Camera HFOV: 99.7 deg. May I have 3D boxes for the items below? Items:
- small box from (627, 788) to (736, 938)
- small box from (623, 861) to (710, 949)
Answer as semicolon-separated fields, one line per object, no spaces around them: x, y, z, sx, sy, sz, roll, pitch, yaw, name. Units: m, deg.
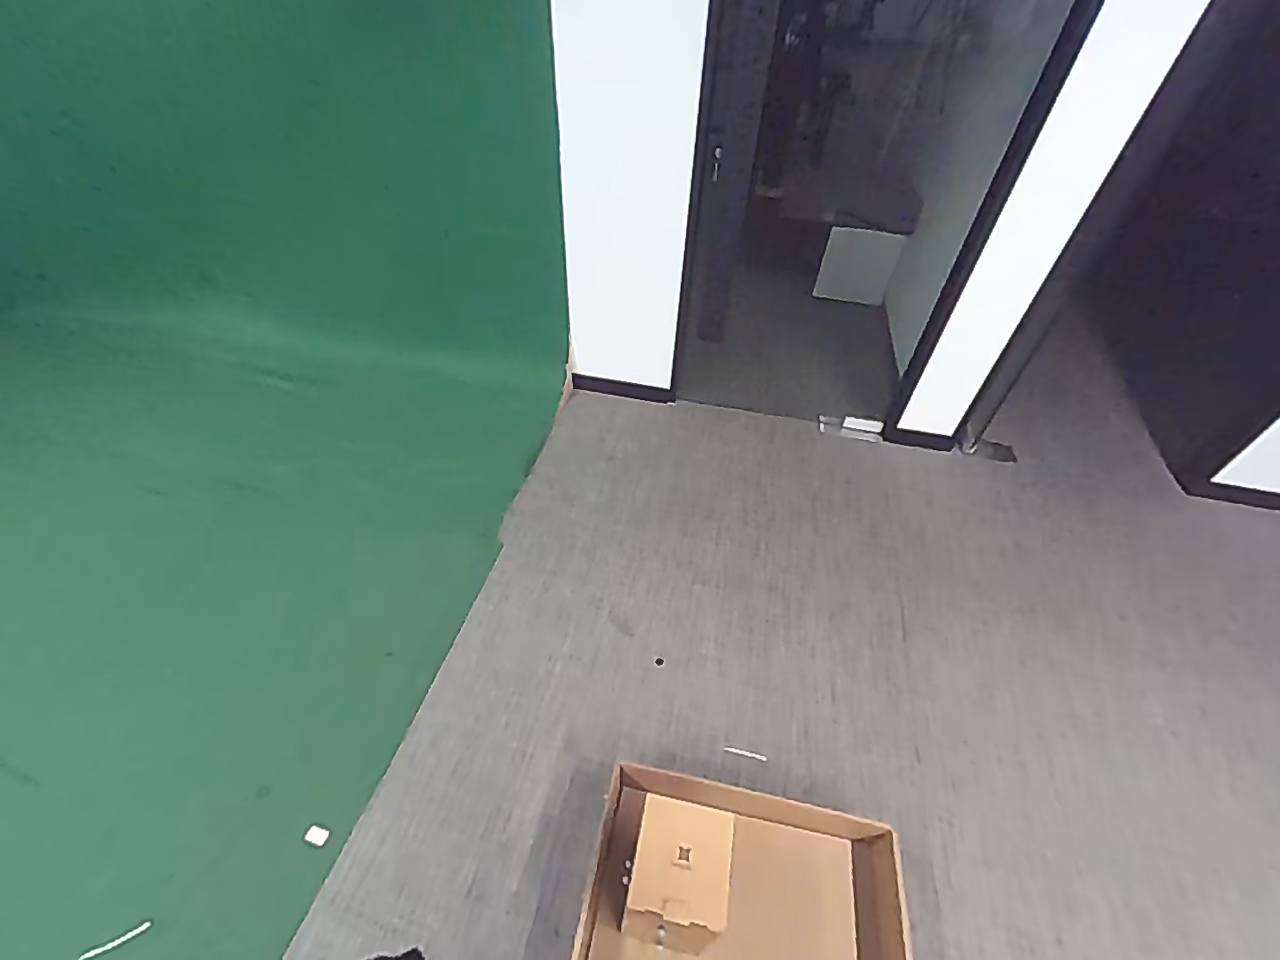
0.072;0.701;0.989;0.168;0.176;0.179;11;45;6;small box
0.063;0.817;1.103;0.168;0.176;0.179;11;45;7;small box
